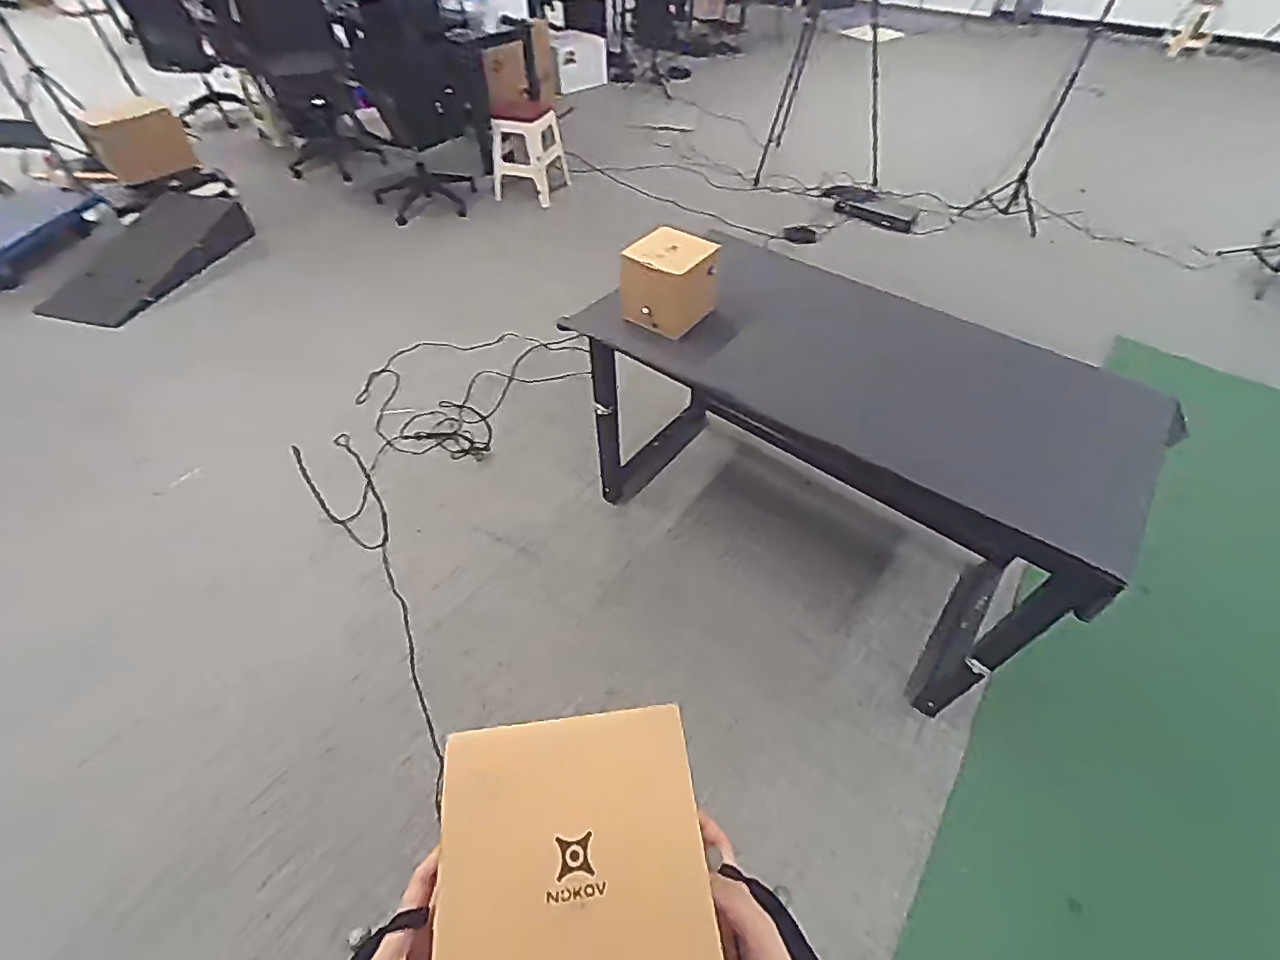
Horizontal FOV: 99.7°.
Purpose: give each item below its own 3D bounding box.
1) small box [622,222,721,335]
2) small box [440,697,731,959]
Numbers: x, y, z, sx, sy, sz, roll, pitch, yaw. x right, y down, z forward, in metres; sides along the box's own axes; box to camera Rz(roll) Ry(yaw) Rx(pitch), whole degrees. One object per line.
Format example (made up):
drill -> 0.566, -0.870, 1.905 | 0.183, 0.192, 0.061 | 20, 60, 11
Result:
small box -> 0.069, -0.478, 1.285 | 0.168, 0.176, 0.179 | 30, 56, 22
small box -> -0.044, 0.280, 0.398 | 0.168, 0.176, 0.179 | -3, 54, -9
